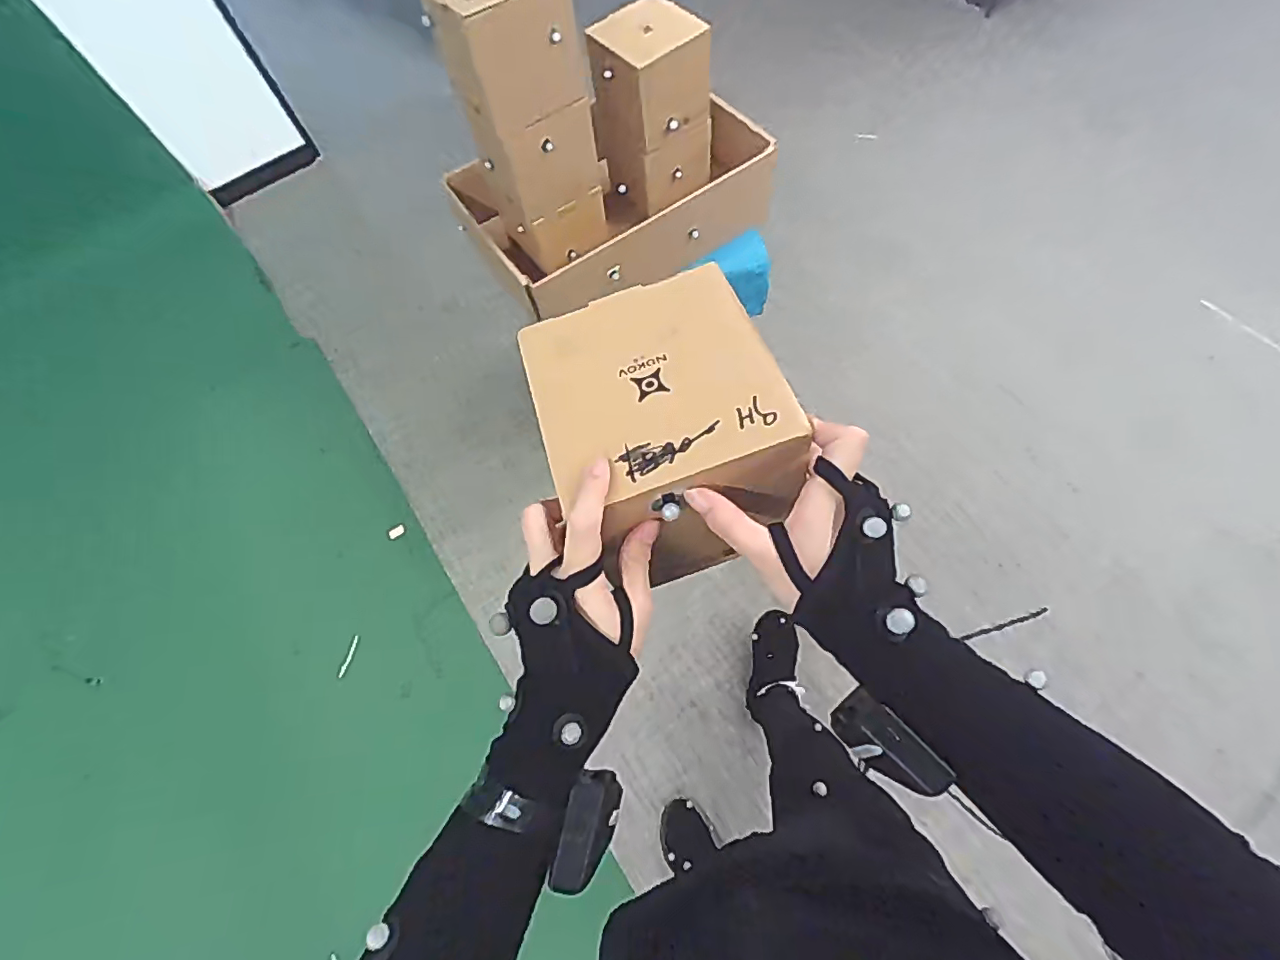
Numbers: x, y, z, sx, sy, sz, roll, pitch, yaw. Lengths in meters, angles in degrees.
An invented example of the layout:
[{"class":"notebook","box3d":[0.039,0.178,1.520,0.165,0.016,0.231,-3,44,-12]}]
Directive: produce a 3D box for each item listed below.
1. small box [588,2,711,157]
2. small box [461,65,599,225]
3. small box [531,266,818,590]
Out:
[{"class":"small box","box3d":[0.022,-0.781,1.065,0.168,0.176,0.179,-36,67,-9]},{"class":"small box","box3d":[-0.196,-0.619,1.011,0.179,0.176,0.168,-35,67,-12]},{"class":"small box","box3d":[0.026,-0.035,0.448,0.168,0.176,0.179,-19,58,1]}]
